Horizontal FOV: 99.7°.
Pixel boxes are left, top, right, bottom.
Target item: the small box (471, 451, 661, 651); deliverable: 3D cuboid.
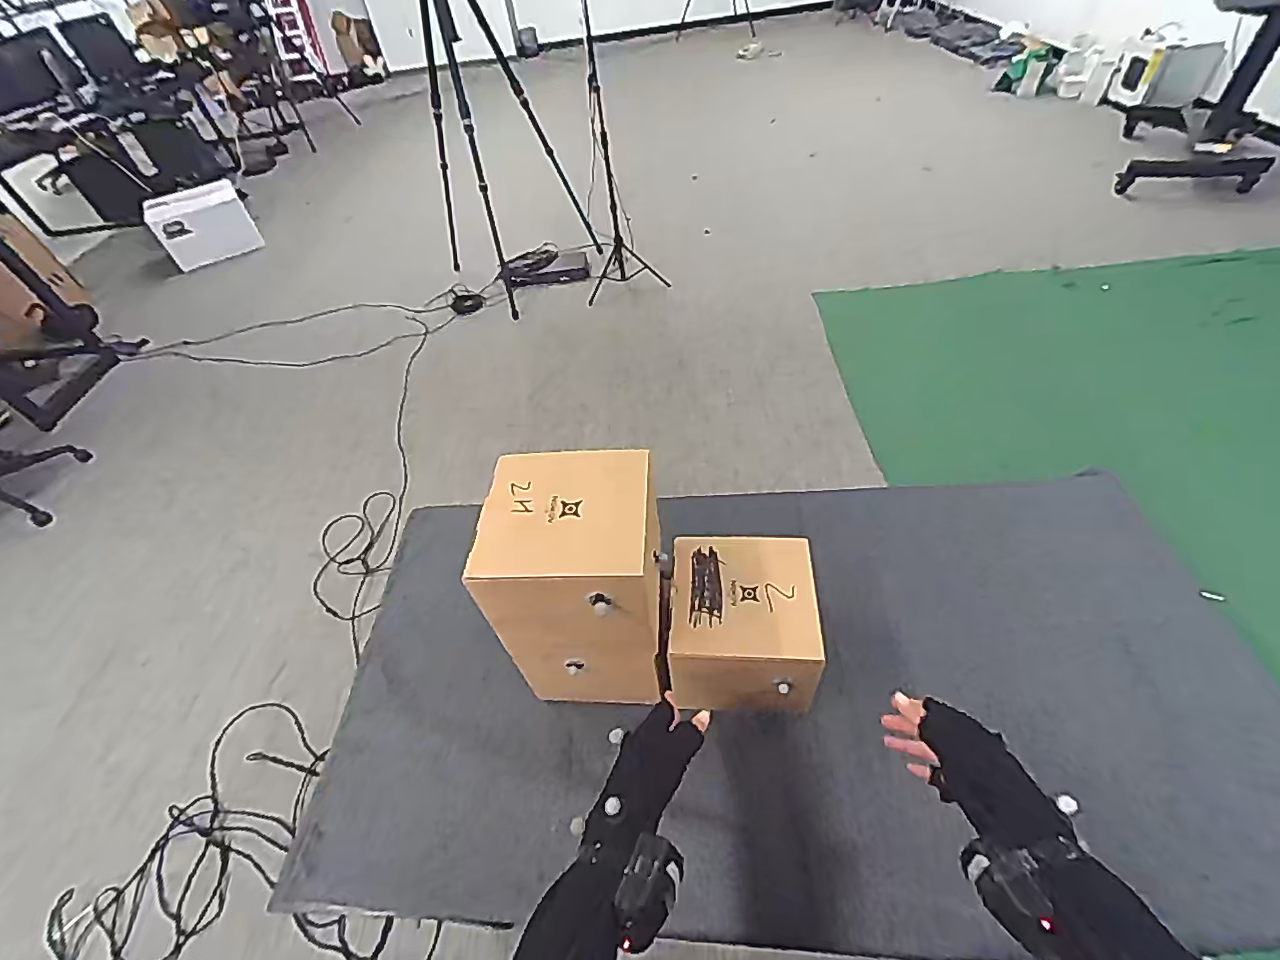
[{"bbox_3d":[-0.066,0.084,0.622,0.179,0.176,0.168,-2,47,6],"label":"small box"}]
